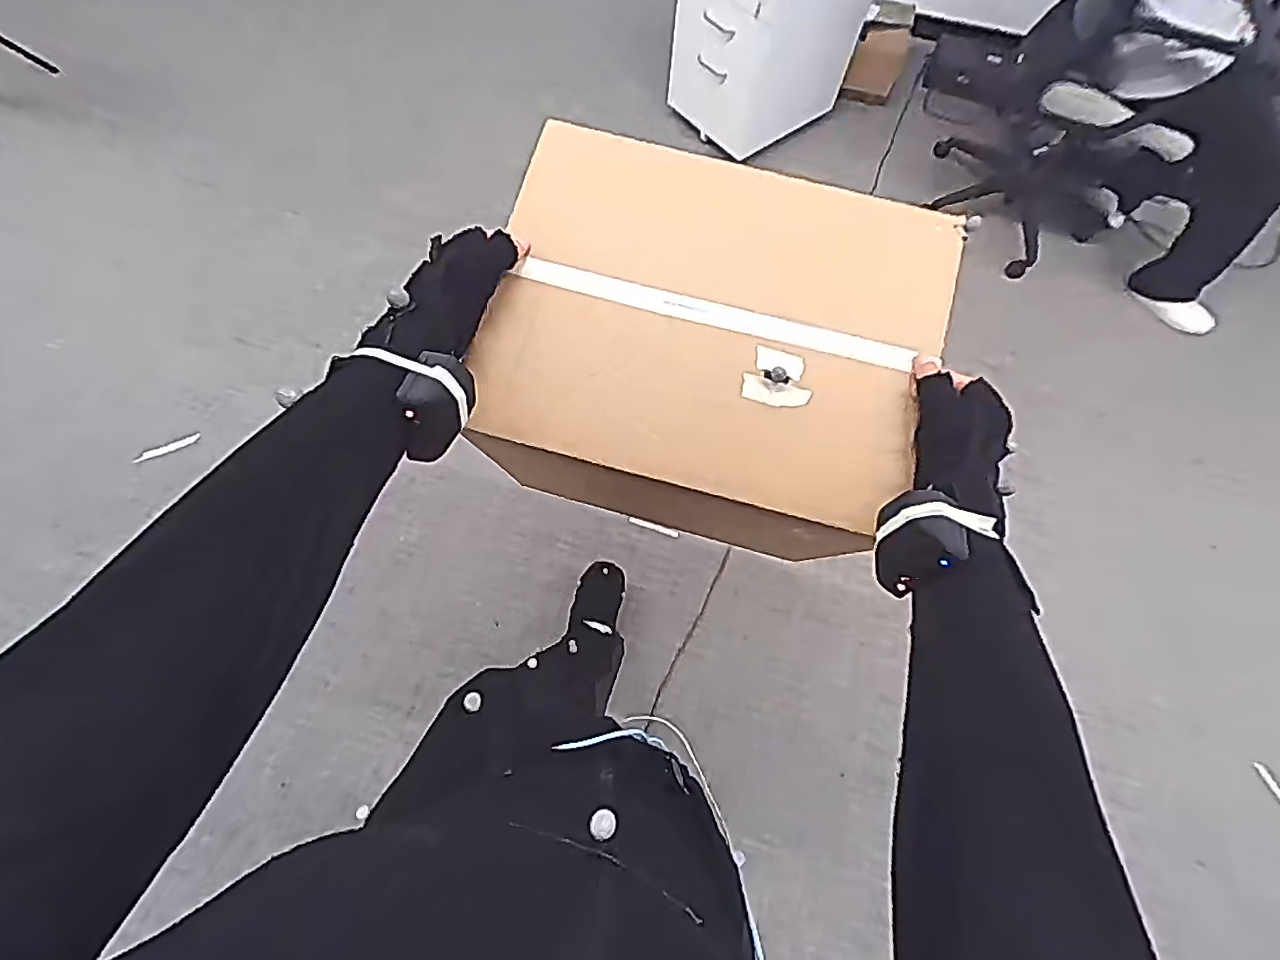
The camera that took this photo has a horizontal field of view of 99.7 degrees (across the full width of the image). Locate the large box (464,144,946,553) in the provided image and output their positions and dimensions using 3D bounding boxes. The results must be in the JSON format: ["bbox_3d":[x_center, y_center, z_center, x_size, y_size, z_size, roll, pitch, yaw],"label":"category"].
[{"bbox_3d":[0.066,-0.117,0.649,0.408,0.320,0.320,15,80,3],"label":"large box"}]
